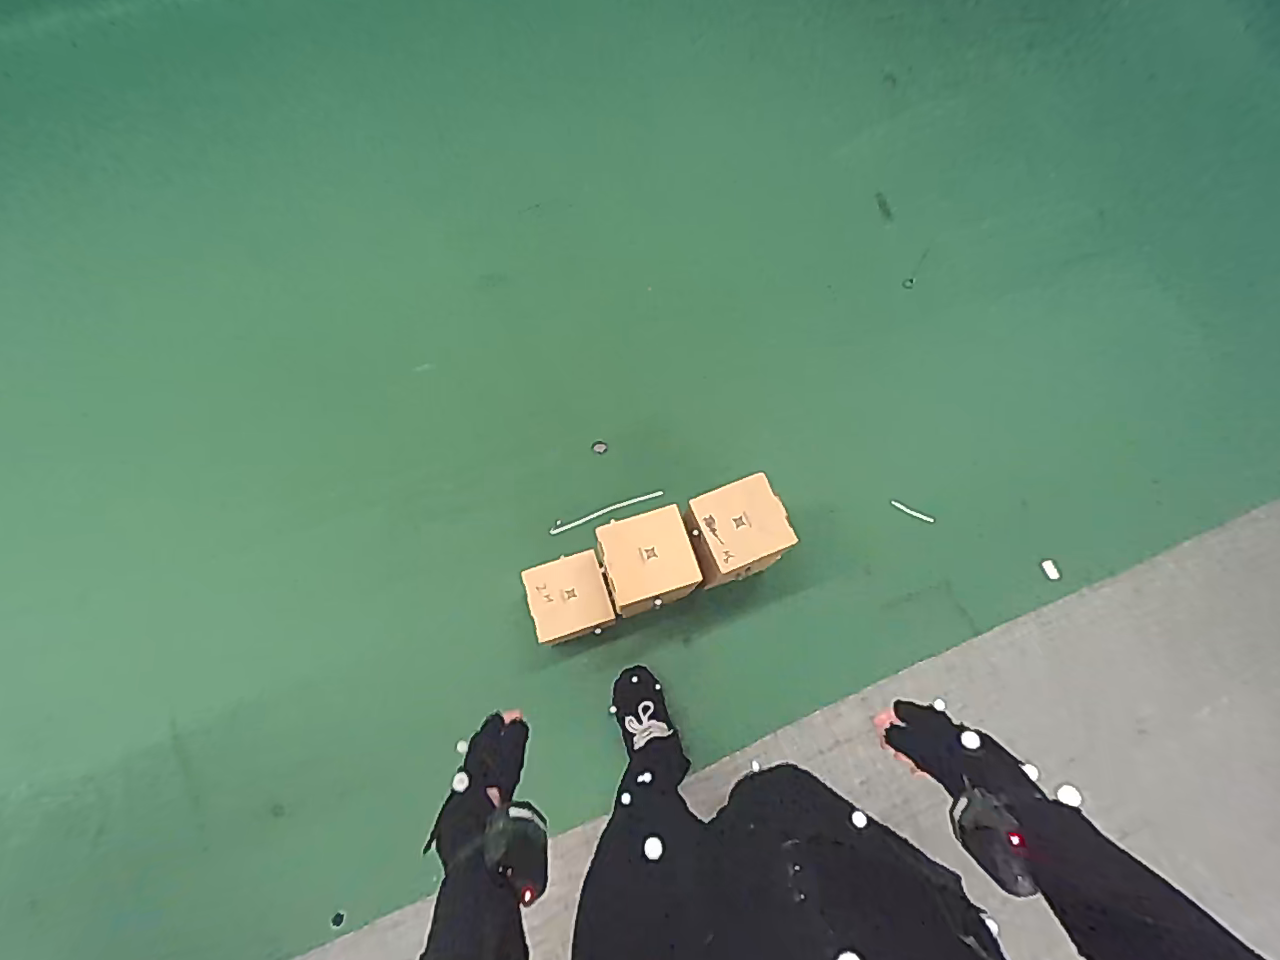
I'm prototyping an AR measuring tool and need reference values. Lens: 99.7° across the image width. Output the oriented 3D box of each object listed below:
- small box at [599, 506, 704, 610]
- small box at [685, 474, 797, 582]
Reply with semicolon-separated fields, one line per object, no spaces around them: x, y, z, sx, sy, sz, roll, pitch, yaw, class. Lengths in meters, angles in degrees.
0.020;0.172;1.154;0.179;0.176;0.168;-17;74;-6;small box
0.209;0.110;1.179;0.179;0.176;0.168;-20;73;-8;small box
